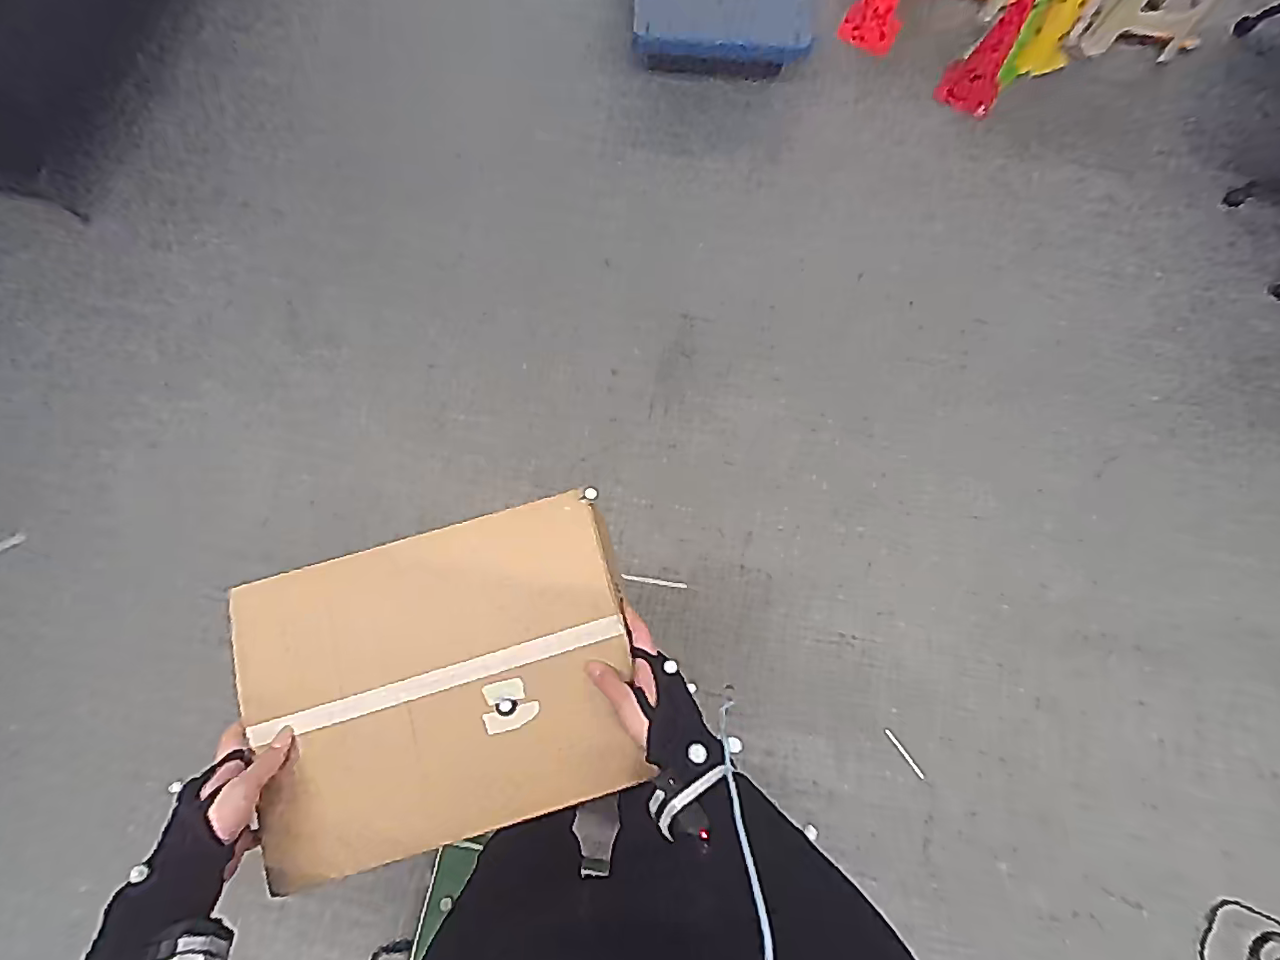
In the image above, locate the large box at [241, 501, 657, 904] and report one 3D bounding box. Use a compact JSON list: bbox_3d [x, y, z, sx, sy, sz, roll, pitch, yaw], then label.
[{"bbox_3d":[-0.215,0.259,0.729,0.408,0.320,0.320,-17,78,-4],"label":"large box"}]
